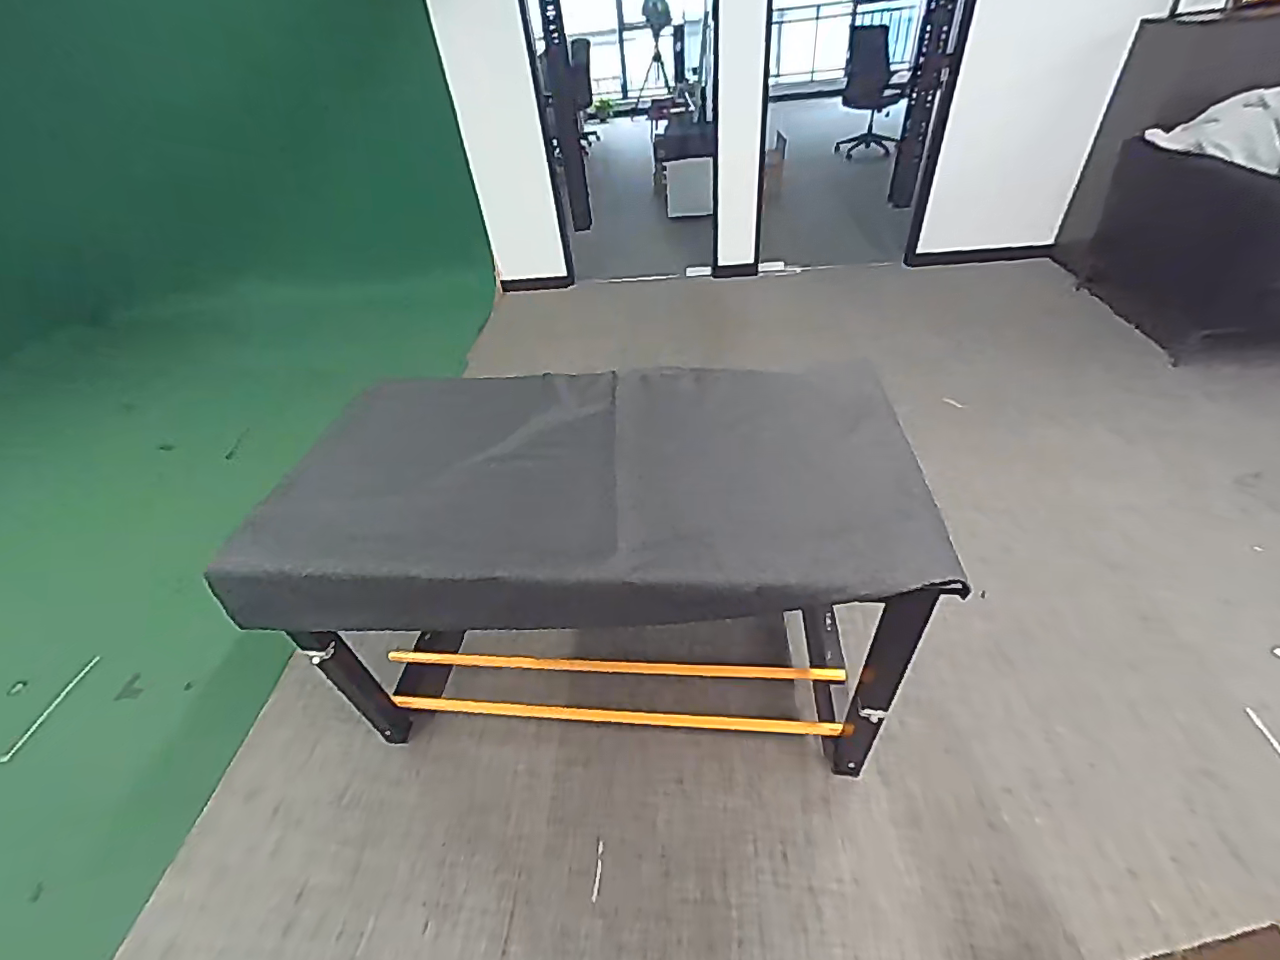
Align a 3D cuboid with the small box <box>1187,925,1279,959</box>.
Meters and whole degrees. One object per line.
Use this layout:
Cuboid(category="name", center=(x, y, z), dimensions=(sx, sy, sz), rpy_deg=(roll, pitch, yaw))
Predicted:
Cuboid(category="small box", center=(0.702, 0.547, 0.509), dimensions=(0.168, 0.176, 0.179), rpy_deg=(-3, 41, 3))
